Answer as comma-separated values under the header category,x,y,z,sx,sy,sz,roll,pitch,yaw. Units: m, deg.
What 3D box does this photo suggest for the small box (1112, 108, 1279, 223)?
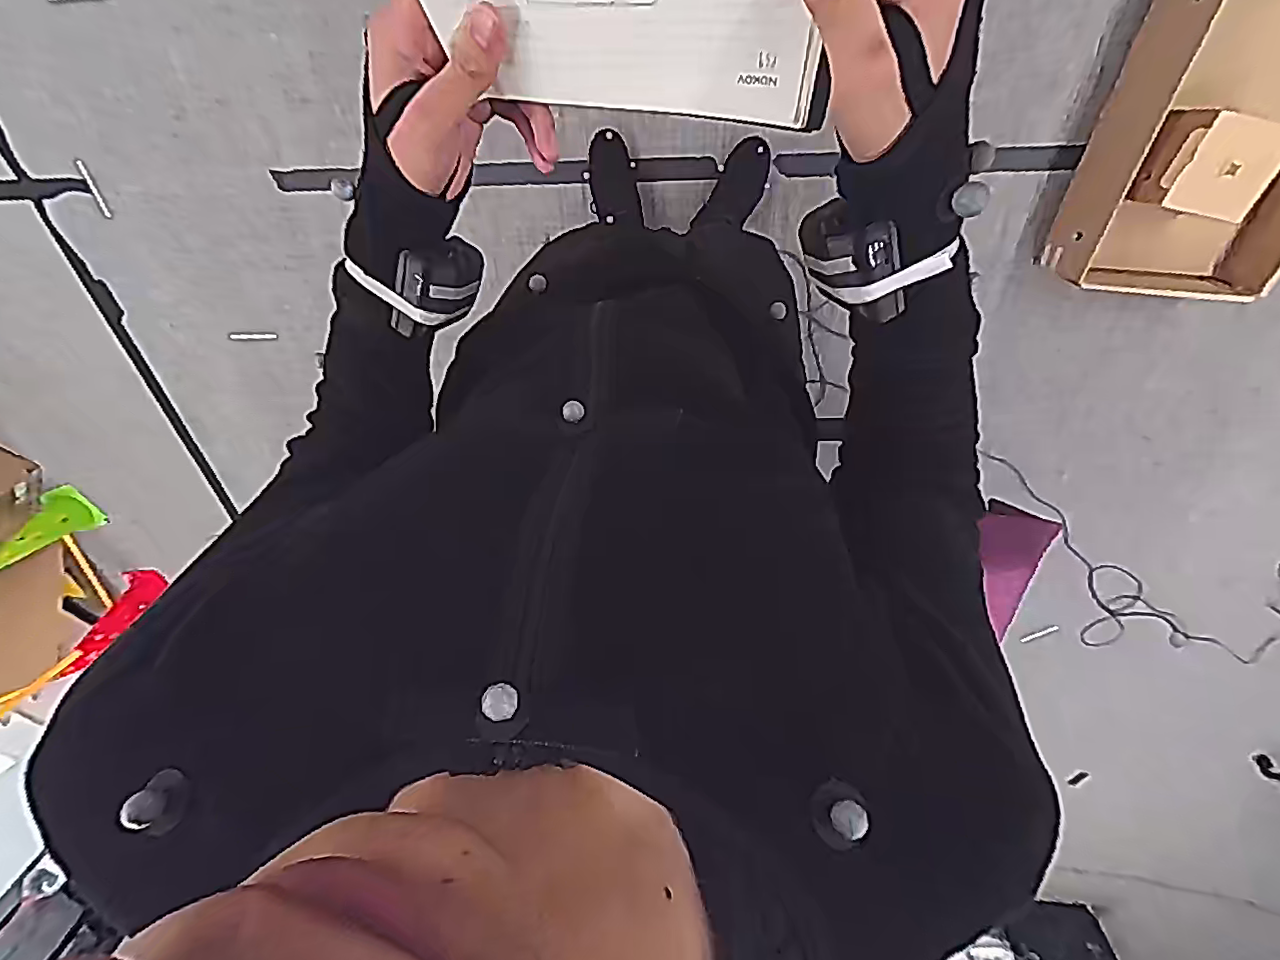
category,x,y,z,sx,sy,sz,roll,pitch,yaw
small box,1.144,-0.645,1.109,0.179,0.176,0.168,12,125,-2
